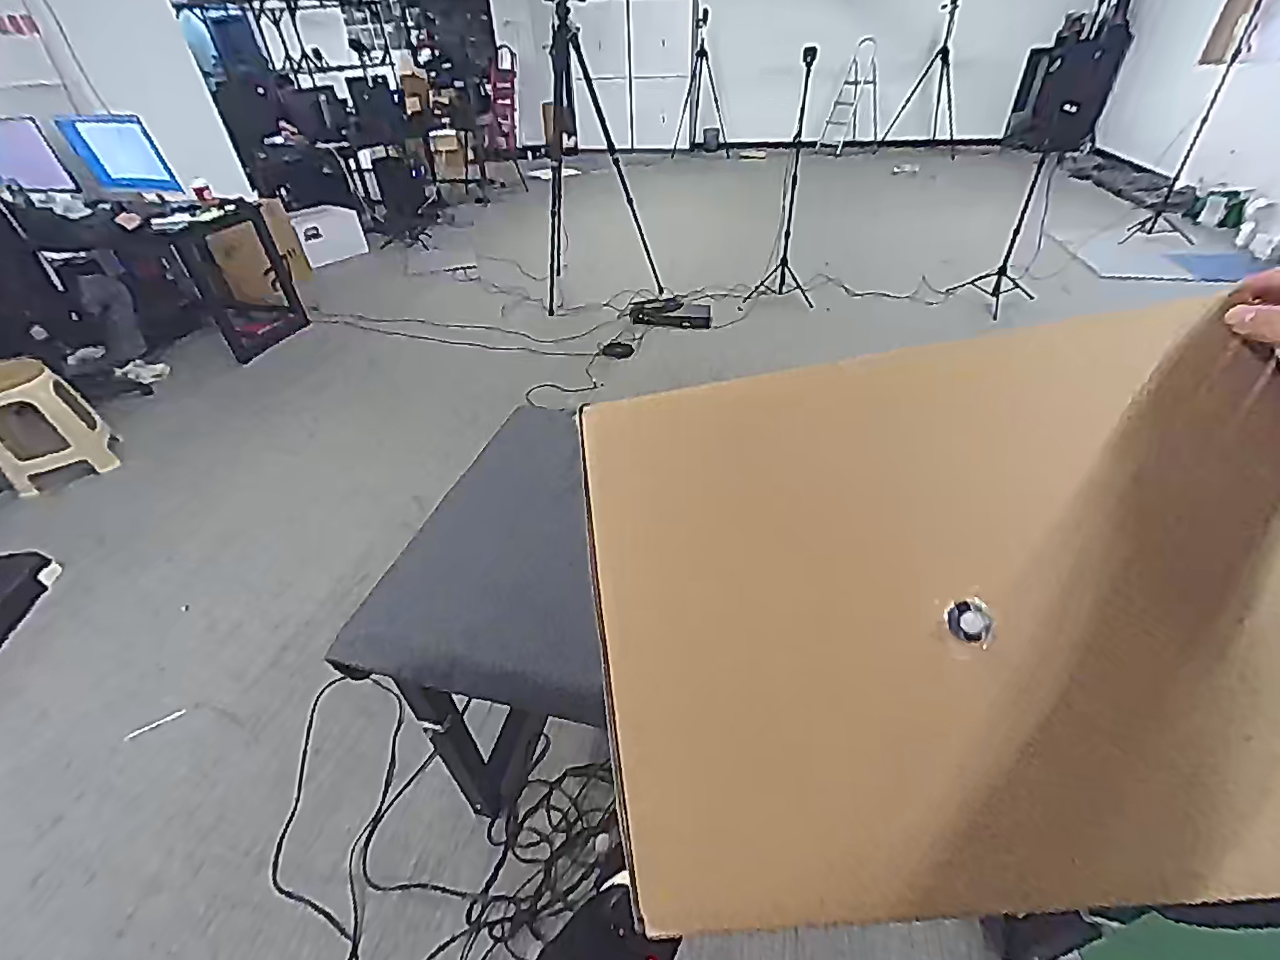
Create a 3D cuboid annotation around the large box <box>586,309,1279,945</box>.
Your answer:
[{"bbox_3d":[0.200,0.104,0.456,0.408,0.320,0.320,-11,77,5],"label":"large box"}]
